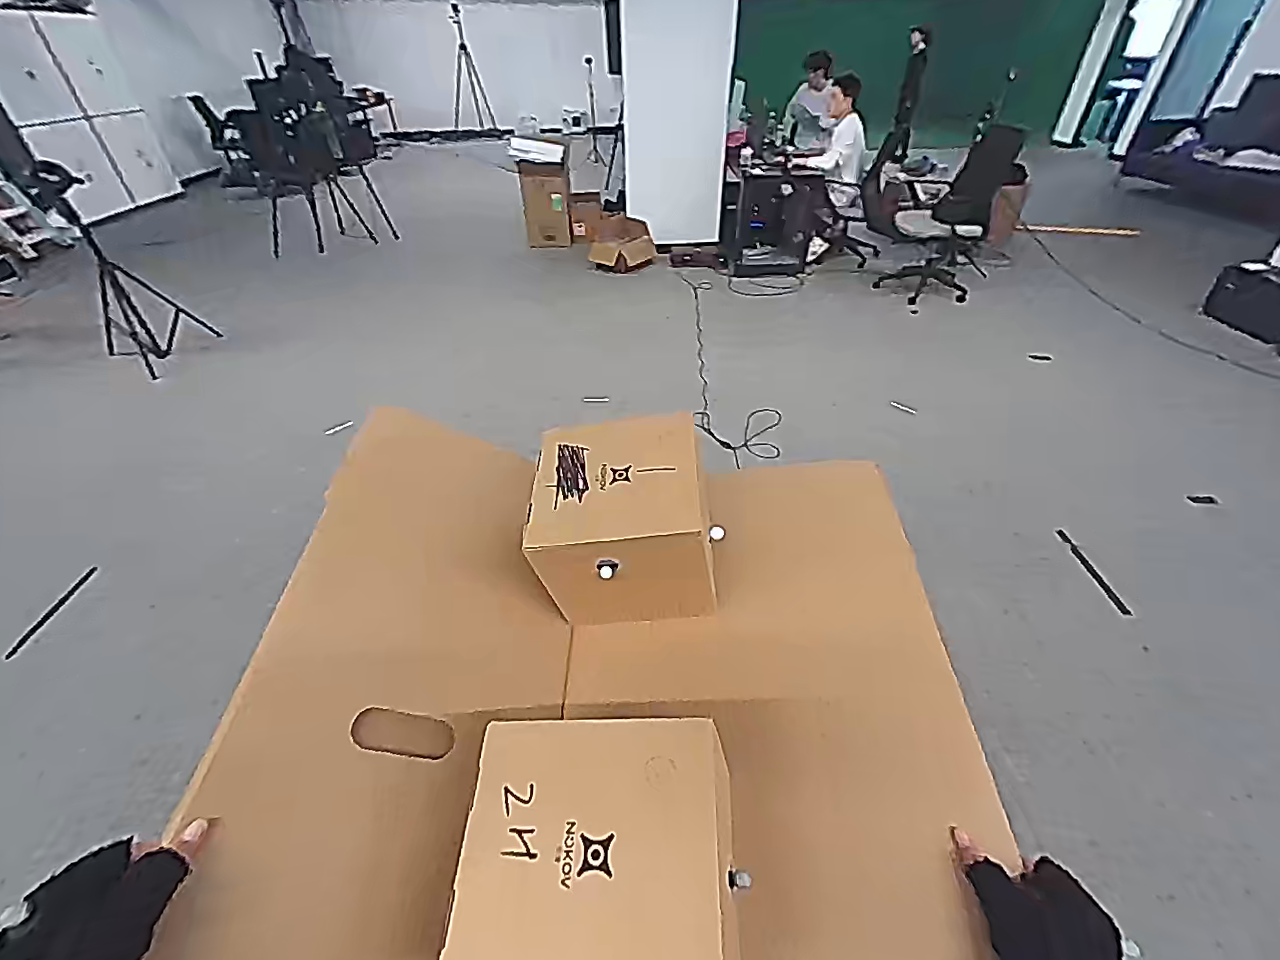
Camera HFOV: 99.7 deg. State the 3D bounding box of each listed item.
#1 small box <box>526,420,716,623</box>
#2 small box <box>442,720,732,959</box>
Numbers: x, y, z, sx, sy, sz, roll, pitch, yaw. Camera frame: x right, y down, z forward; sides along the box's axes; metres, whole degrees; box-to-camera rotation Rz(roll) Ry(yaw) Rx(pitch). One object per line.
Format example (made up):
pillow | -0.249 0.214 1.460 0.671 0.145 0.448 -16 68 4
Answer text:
small box | -0.011 0.055 0.629 0.179 0.176 0.168 -6 49 9
small box | -0.021 0.298 0.421 0.179 0.176 0.168 -5 49 11
